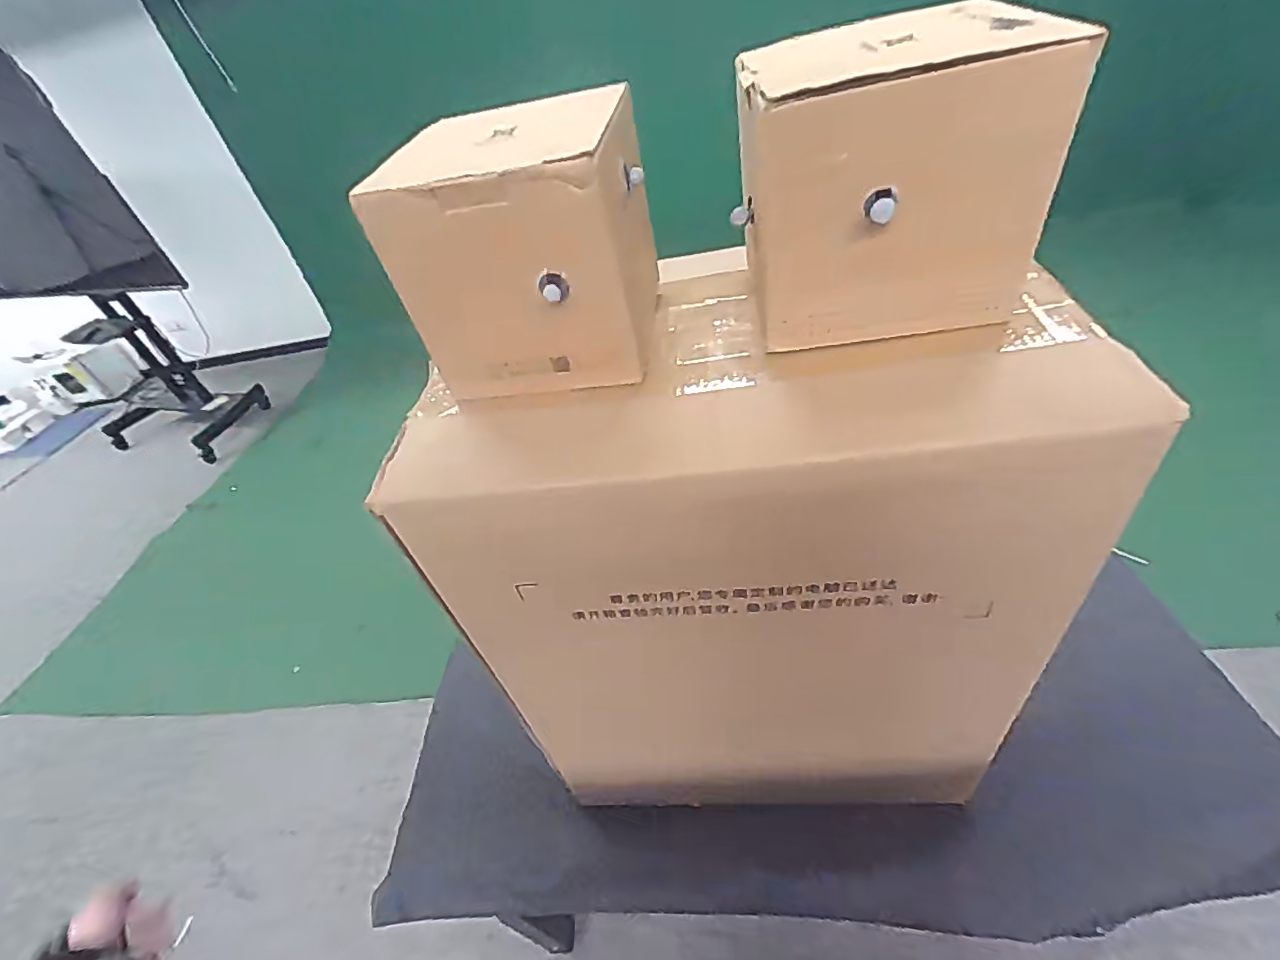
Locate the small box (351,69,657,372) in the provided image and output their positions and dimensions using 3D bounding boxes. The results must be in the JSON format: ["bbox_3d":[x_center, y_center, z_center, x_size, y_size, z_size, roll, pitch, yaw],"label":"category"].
[{"bbox_3d":[-0.080,-0.198,0.432,0.168,0.176,0.179,-2,44,9],"label":"small box"}]

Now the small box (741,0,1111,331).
[{"bbox_3d":[0.175,-0.227,0.398,0.179,0.176,0.168,-6,45,8],"label":"small box"}]
